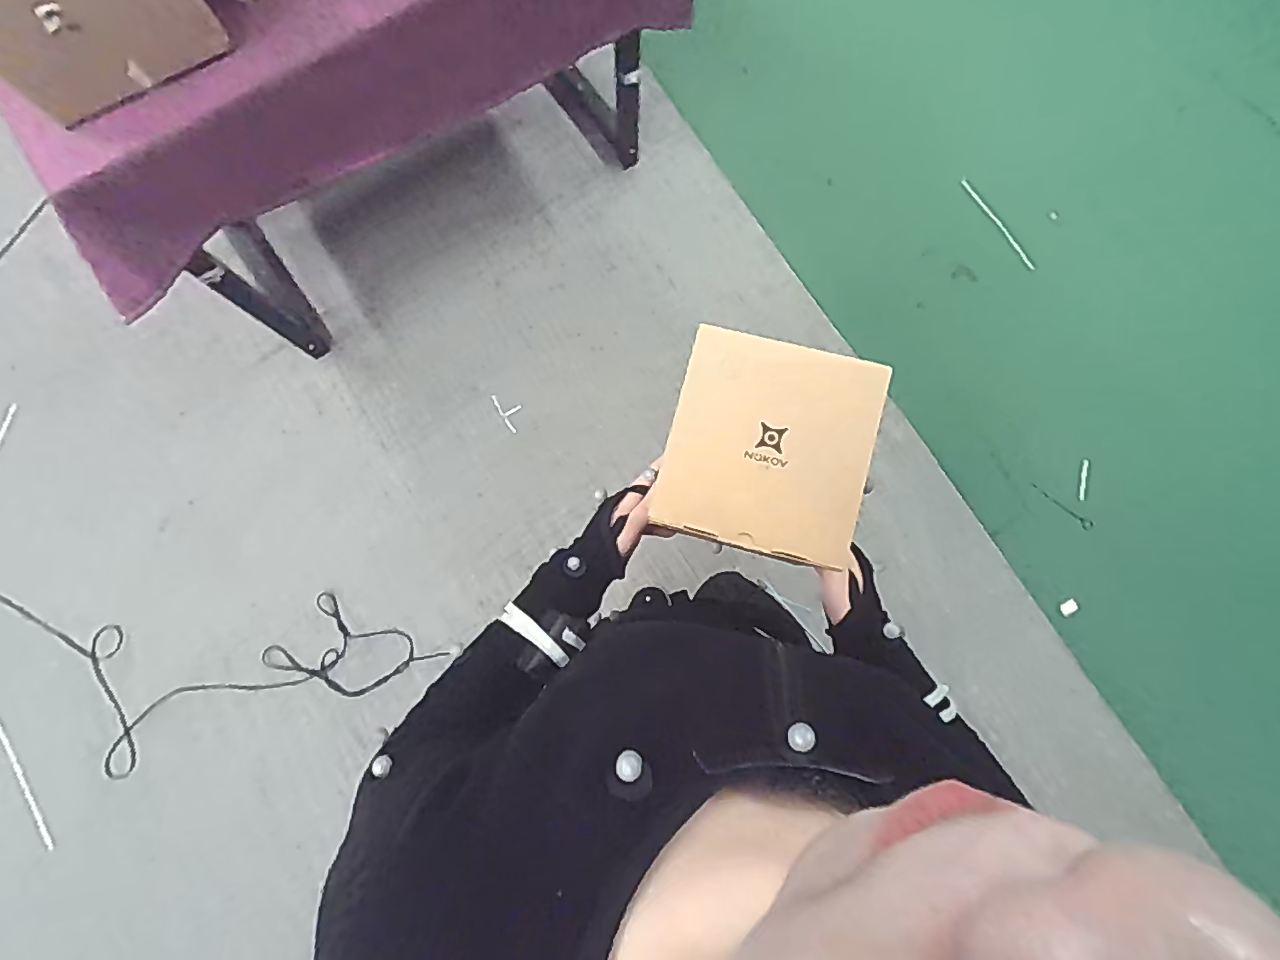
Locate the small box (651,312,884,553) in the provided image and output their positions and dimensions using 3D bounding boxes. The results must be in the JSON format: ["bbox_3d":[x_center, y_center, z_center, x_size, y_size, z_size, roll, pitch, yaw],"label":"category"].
[{"bbox_3d":[0.111,-0.035,0.532,0.168,0.176,0.179,14,86,5],"label":"small box"}]
